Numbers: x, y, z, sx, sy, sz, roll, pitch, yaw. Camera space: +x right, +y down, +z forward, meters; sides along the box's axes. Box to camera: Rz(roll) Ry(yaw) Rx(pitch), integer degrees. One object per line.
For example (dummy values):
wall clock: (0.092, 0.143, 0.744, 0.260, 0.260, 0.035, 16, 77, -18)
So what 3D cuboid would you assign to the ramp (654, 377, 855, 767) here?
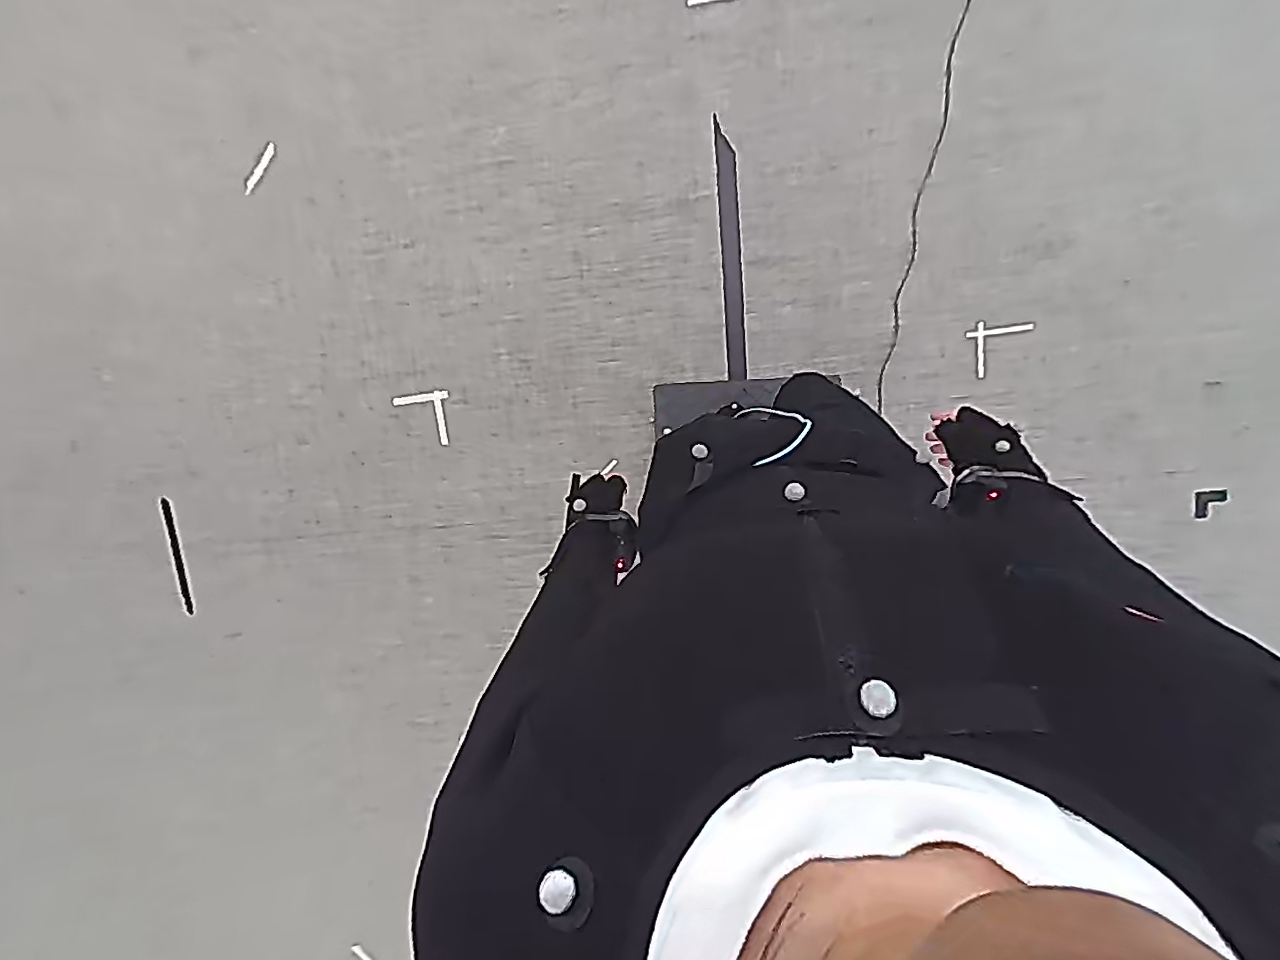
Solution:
ramp: (0.289, 0.237, 1.426, 0.509, 0.206, 0.991, -3, 97, 9)
